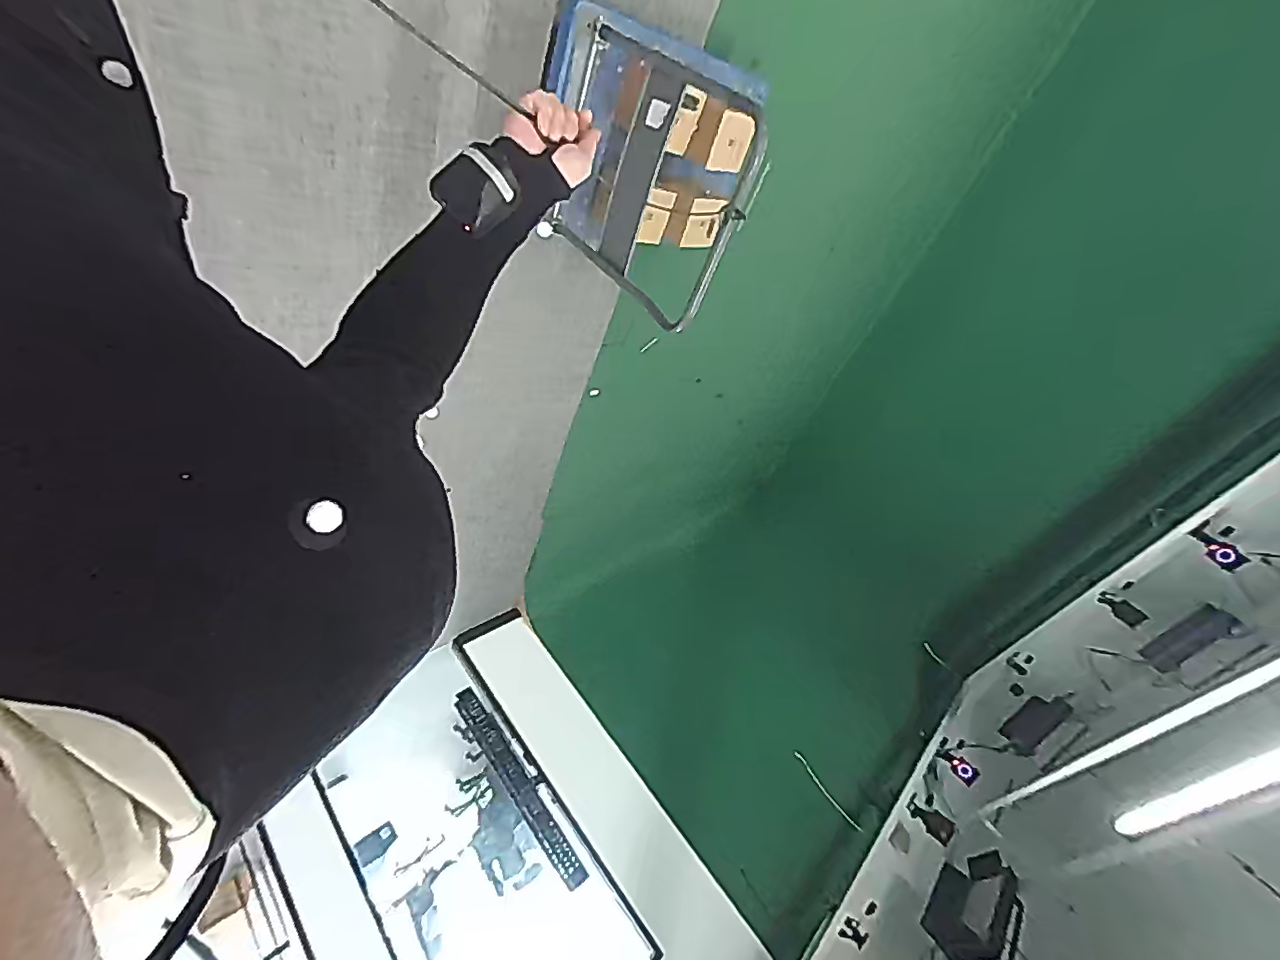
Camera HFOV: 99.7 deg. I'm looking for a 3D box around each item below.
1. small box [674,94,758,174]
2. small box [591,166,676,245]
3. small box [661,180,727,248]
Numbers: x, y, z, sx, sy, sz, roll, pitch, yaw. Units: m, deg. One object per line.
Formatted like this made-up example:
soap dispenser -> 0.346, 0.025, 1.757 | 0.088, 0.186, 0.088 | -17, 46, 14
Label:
small box -> 0.237, -1.114, 1.739 | 0.179, 0.176, 0.168 | -21, 147, -39
small box -> -0.024, -0.874, 1.720 | 0.179, 0.176, 0.168 | -17, 143, -43
small box -> 0.166, -0.936, 1.902 | 0.179, 0.176, 0.168 | -20, 145, -39
